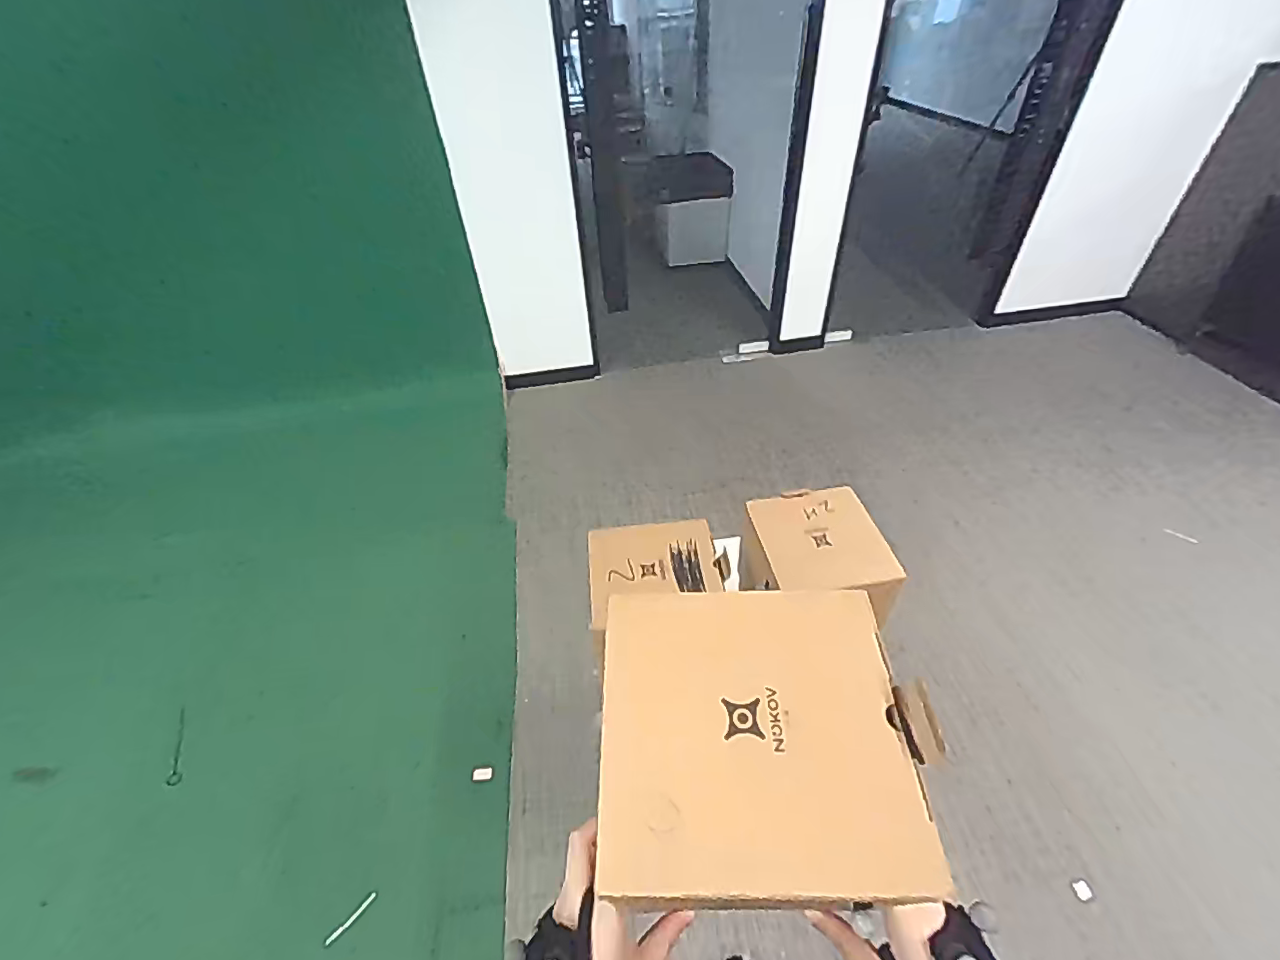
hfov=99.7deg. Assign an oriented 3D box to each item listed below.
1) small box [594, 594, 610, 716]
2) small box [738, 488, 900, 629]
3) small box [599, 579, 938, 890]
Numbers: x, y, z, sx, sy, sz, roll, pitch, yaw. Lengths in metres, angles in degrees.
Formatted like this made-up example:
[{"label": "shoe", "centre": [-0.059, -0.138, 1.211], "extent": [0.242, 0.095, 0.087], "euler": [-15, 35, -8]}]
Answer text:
[{"label": "small box", "centre": [0.021, 0.297, 0.891], "extent": [0.179, 0.176, 0.168], "euler": [-5, 44, -4]}, {"label": "small box", "centre": [0.251, 0.140, 0.806], "extent": [0.168, 0.176, 0.179], "euler": [-8, 43, -4]}, {"label": "small box", "centre": [0.069, 0.185, 0.386], "extent": [0.179, 0.176, 0.168], "euler": [-1, 50, 1]}]
